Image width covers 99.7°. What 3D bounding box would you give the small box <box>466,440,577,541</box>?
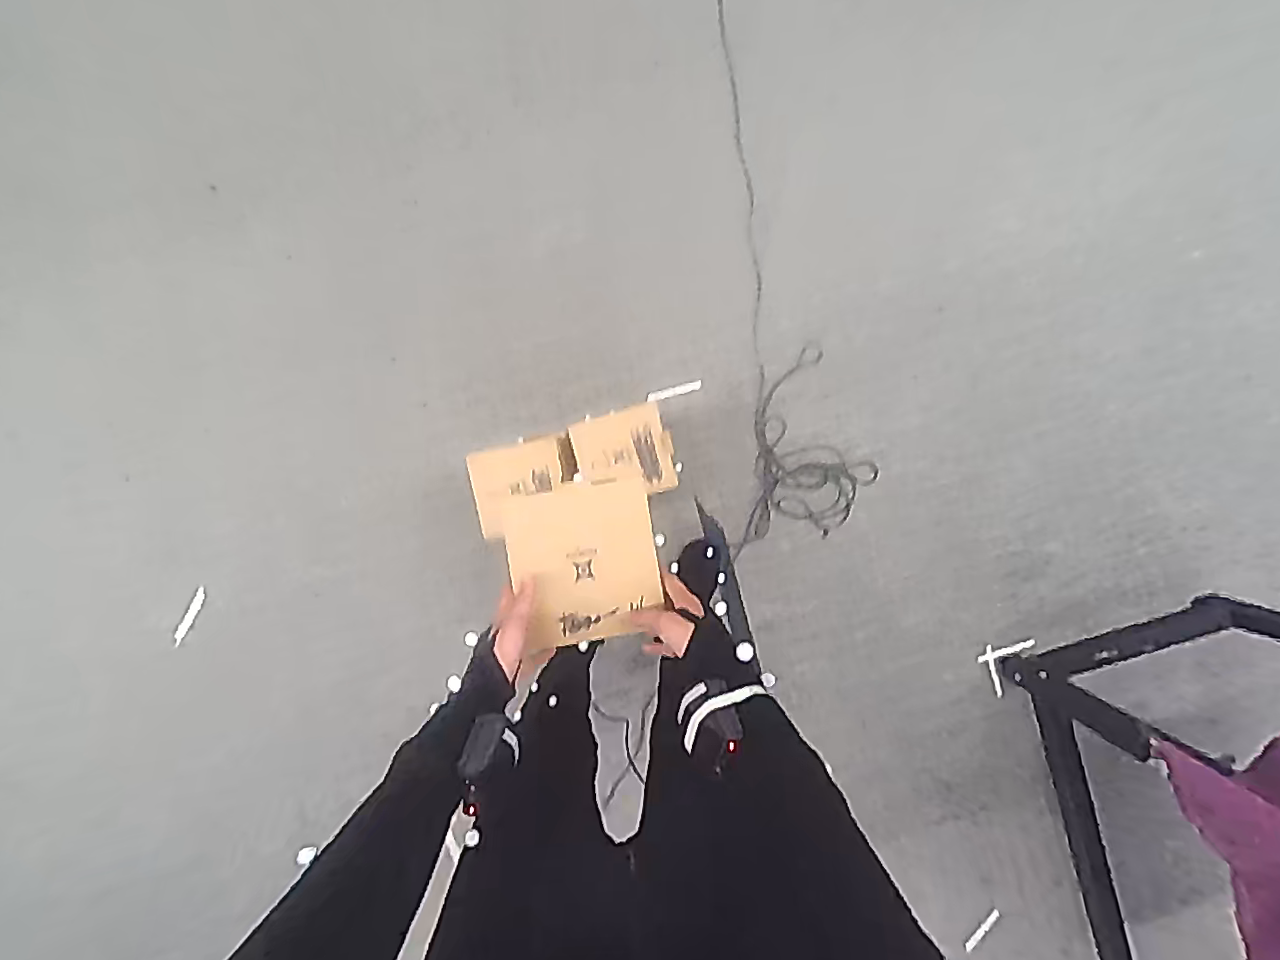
[{"bbox_3d":[-0.222,0.013,1.083,0.179,0.176,0.168,-12,94,2],"label":"small box"}]

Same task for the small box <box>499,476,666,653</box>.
[{"bbox_3d":[-0.065,0.096,0.671,0.168,0.176,0.179,-9,88,0],"label":"small box"}]
